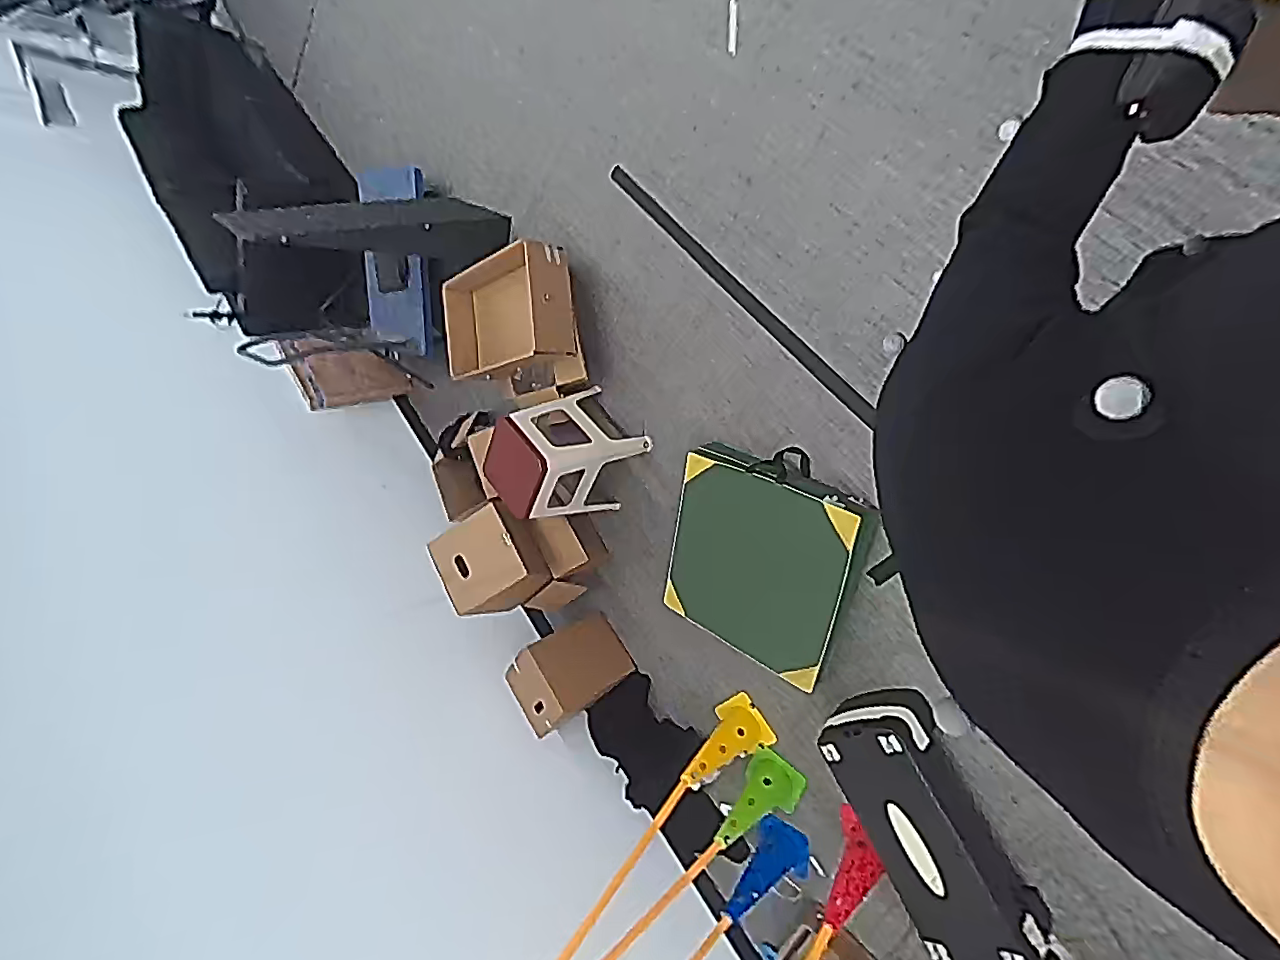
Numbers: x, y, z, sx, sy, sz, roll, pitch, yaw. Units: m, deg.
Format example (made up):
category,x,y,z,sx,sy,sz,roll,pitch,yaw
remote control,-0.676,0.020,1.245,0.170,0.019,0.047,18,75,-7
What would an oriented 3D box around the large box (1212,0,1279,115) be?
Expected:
category,x,y,z,sx,sy,sz,roll,pitch,yaw
large box,0.640,-0.399,0.272,0.408,0.320,0.320,30,124,35
